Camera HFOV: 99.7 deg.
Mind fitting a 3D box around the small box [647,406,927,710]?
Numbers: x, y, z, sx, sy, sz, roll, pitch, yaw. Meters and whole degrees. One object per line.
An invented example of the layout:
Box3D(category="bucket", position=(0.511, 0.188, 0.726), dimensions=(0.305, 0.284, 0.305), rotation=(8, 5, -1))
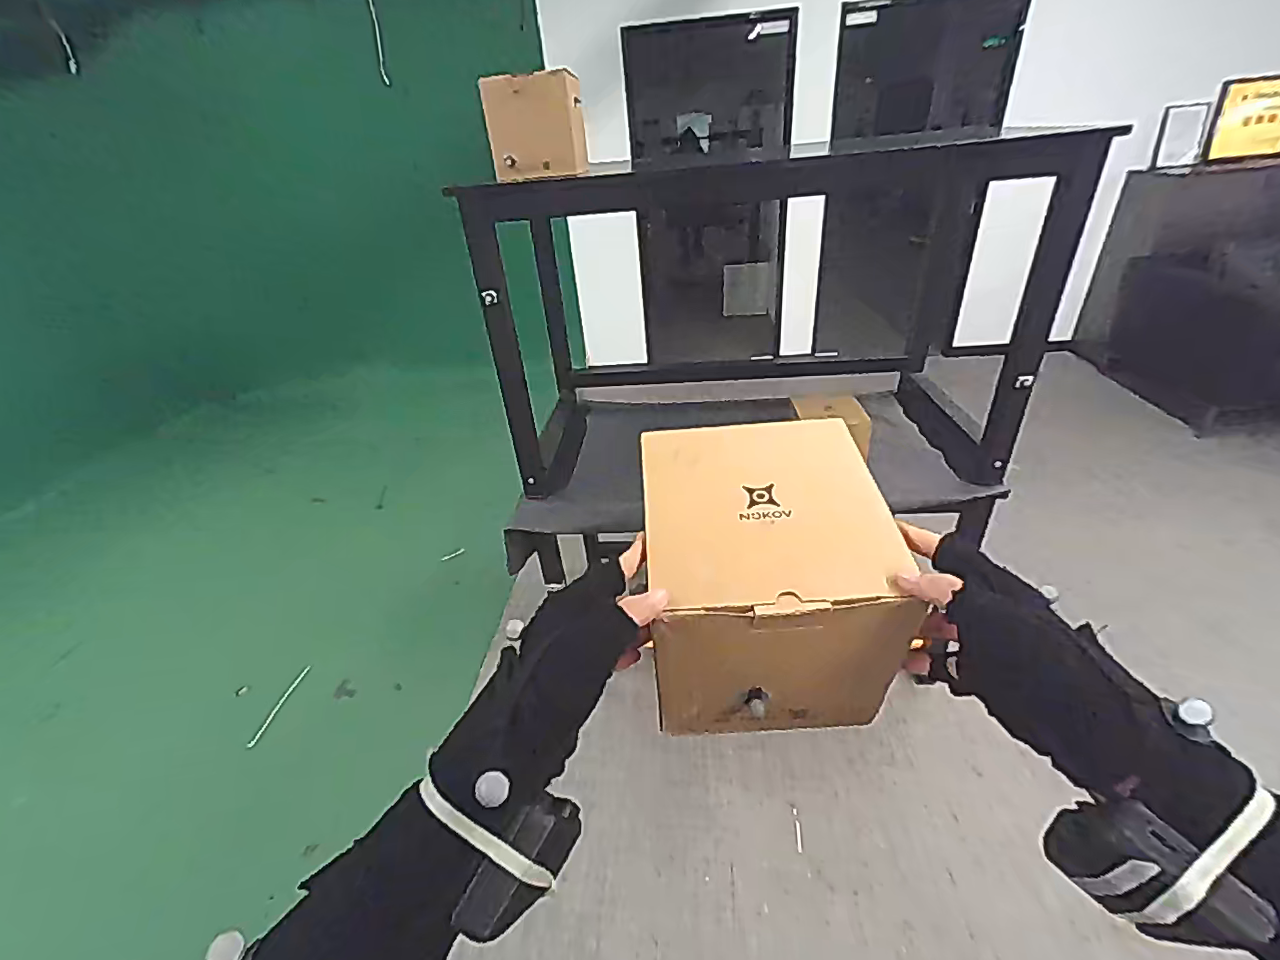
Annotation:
Box3D(category="small box", position=(0.091, 0.061, 0.436), dimensions=(0.168, 0.176, 0.179), rotation=(-4, 43, 1))

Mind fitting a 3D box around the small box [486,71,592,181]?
Box3D(category="small box", position=(-0.195, -0.713, 1.102), dimensions=(0.168, 0.176, 0.179), rotation=(-2, 31, 5))

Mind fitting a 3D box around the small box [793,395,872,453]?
Box3D(category="small box", position=(0.491, -0.111, 1.419), dimensions=(0.168, 0.176, 0.179), rotation=(-3, 31, 6))
